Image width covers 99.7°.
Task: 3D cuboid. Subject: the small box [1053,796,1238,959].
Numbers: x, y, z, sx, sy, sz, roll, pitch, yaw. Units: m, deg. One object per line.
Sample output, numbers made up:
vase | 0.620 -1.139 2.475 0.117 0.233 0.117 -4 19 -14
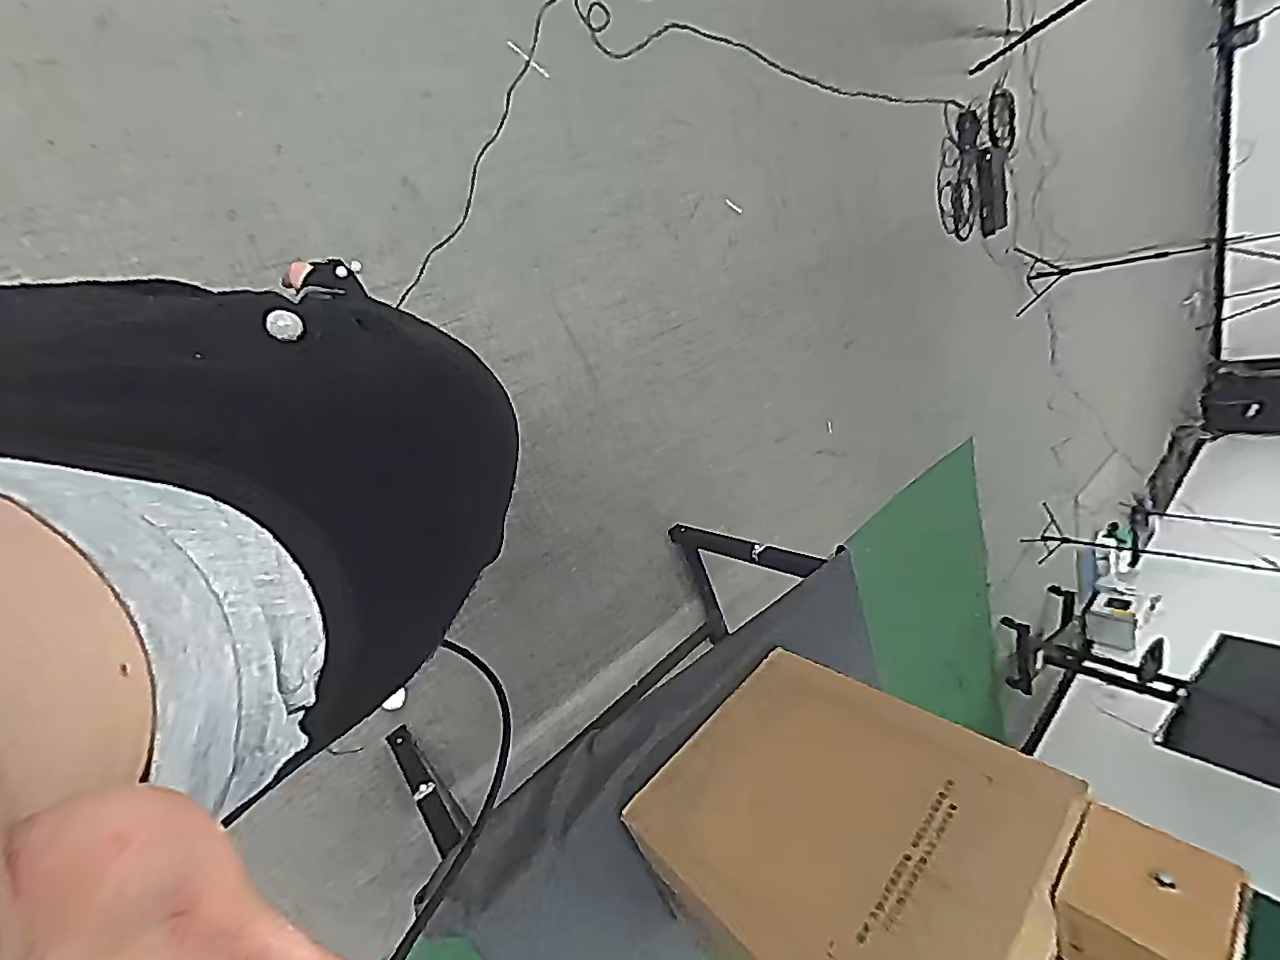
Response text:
small box | 0.719 0.604 0.775 0.179 0.176 0.168 -35 114 -30
